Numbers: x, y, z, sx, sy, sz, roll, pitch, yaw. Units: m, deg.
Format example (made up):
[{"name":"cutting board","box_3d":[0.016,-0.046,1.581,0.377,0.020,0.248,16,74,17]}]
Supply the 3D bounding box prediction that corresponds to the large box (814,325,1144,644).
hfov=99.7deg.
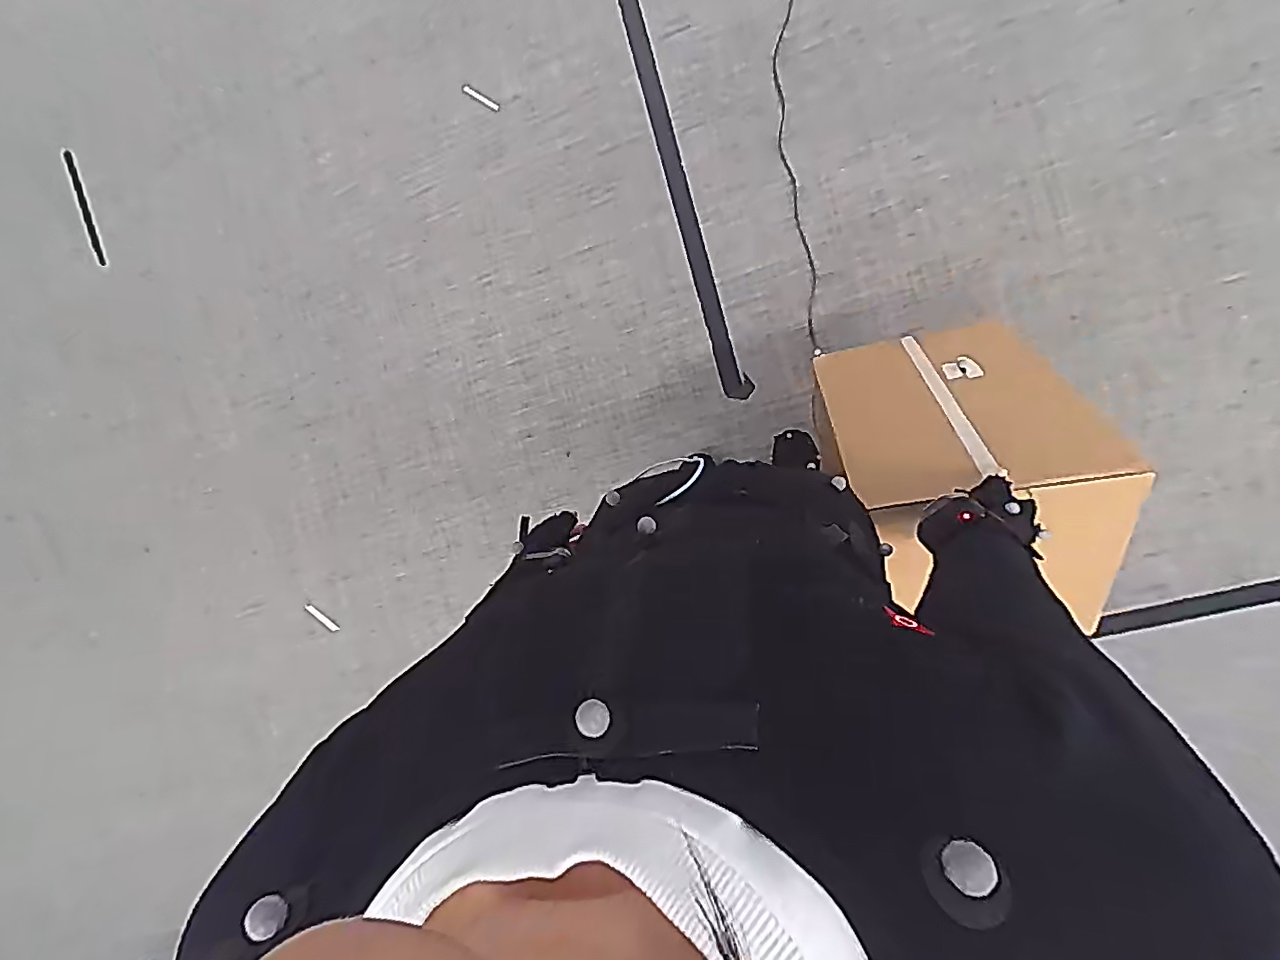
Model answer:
[{"name":"large box","box_3d":[0.489,0.002,0.886,0.320,0.408,0.320,-9,128,14]}]
